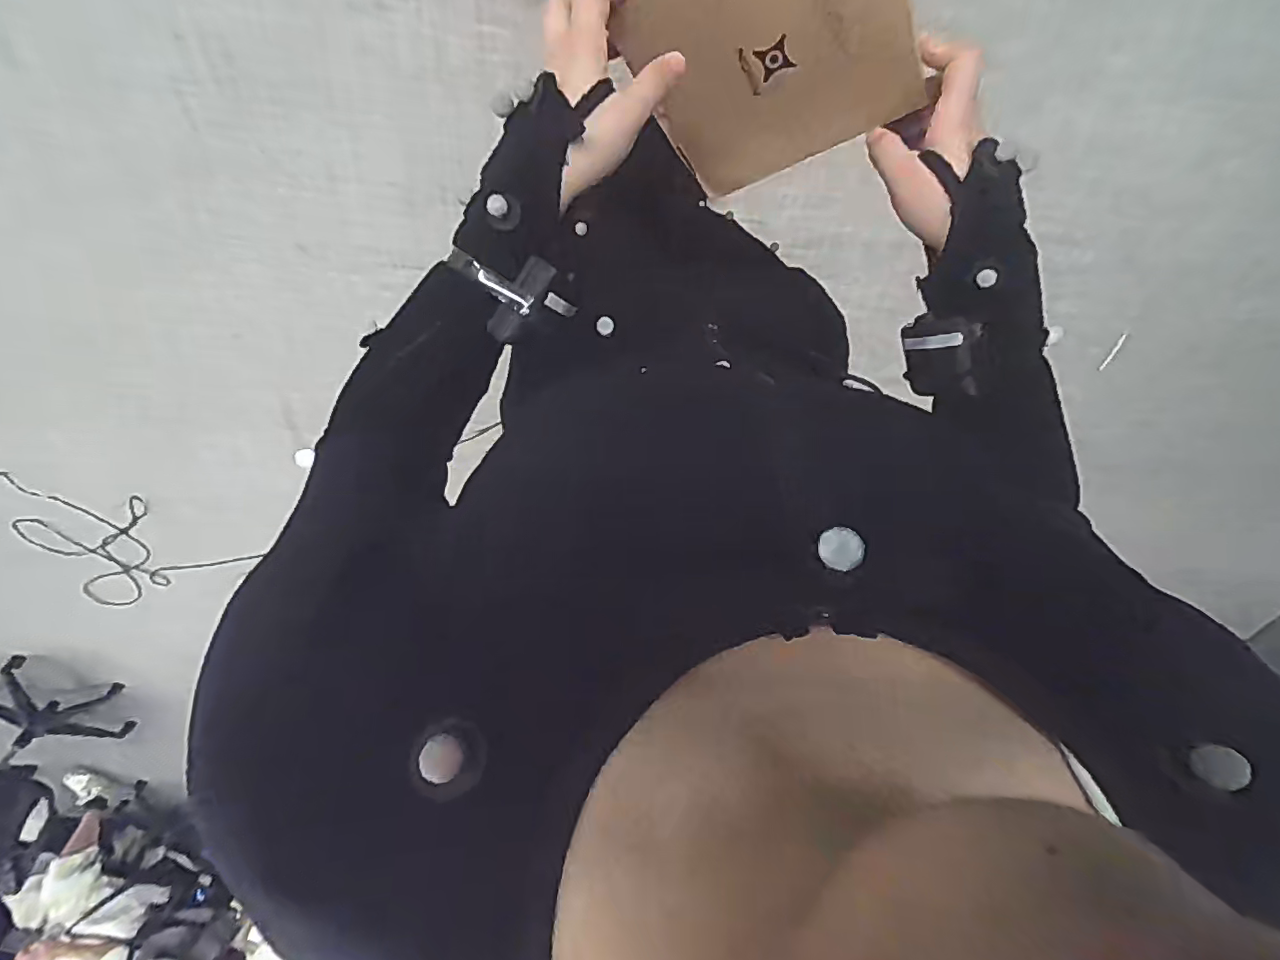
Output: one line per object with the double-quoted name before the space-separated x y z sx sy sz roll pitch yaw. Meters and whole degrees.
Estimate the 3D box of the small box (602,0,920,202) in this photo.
"small box" 0.096 -0.361 0.404 0.179 0.176 0.168 -9 155 33
